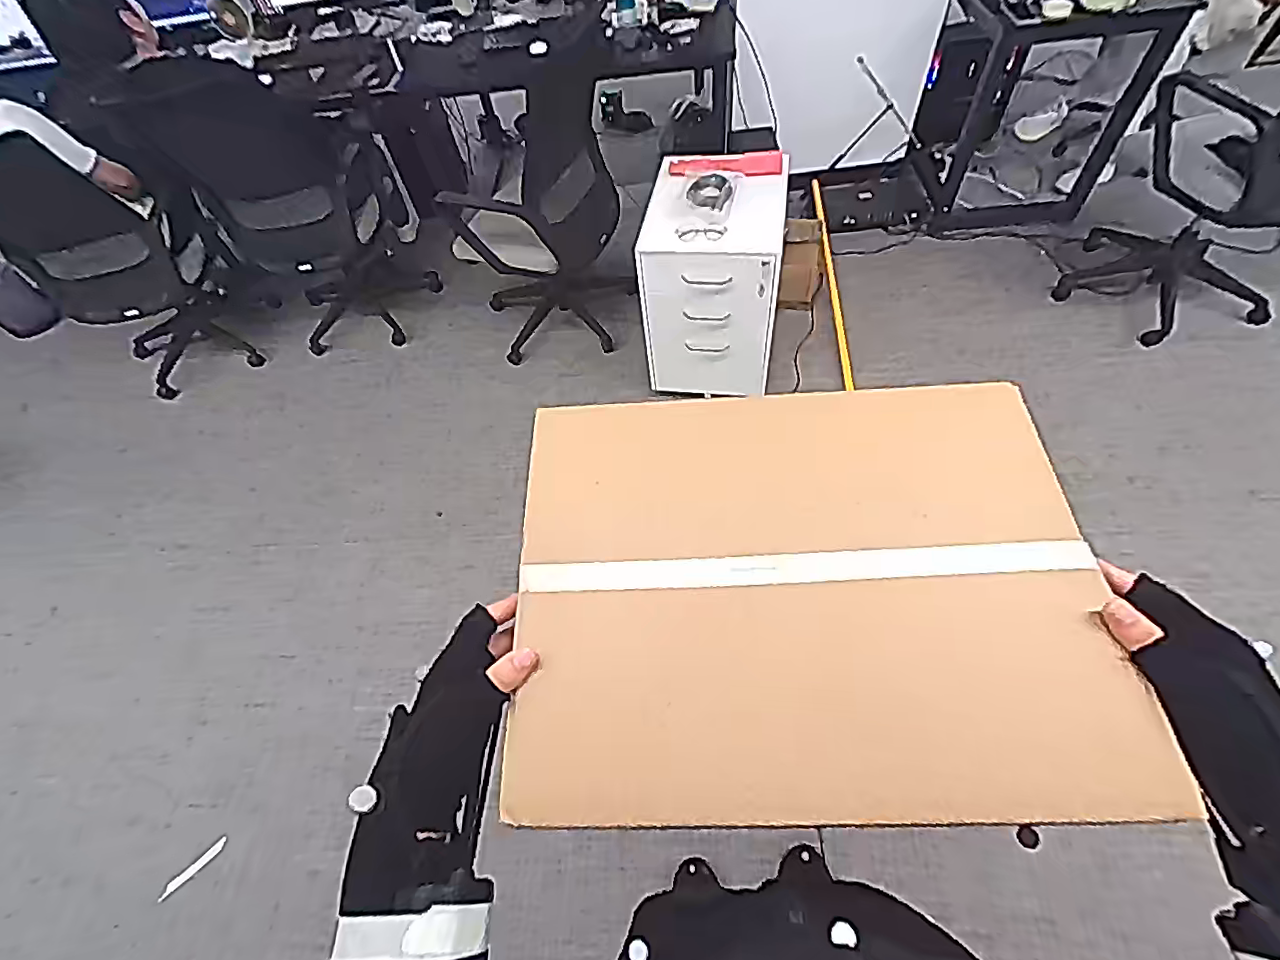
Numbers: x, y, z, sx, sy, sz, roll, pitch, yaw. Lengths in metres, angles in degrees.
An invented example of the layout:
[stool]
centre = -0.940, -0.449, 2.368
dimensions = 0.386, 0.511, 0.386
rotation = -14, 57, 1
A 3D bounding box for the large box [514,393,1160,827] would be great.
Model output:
[large box]
centre = 0.125, 0.141, 0.532
dimensions = 0.408, 0.320, 0.320
rotation = -3, 61, 3
